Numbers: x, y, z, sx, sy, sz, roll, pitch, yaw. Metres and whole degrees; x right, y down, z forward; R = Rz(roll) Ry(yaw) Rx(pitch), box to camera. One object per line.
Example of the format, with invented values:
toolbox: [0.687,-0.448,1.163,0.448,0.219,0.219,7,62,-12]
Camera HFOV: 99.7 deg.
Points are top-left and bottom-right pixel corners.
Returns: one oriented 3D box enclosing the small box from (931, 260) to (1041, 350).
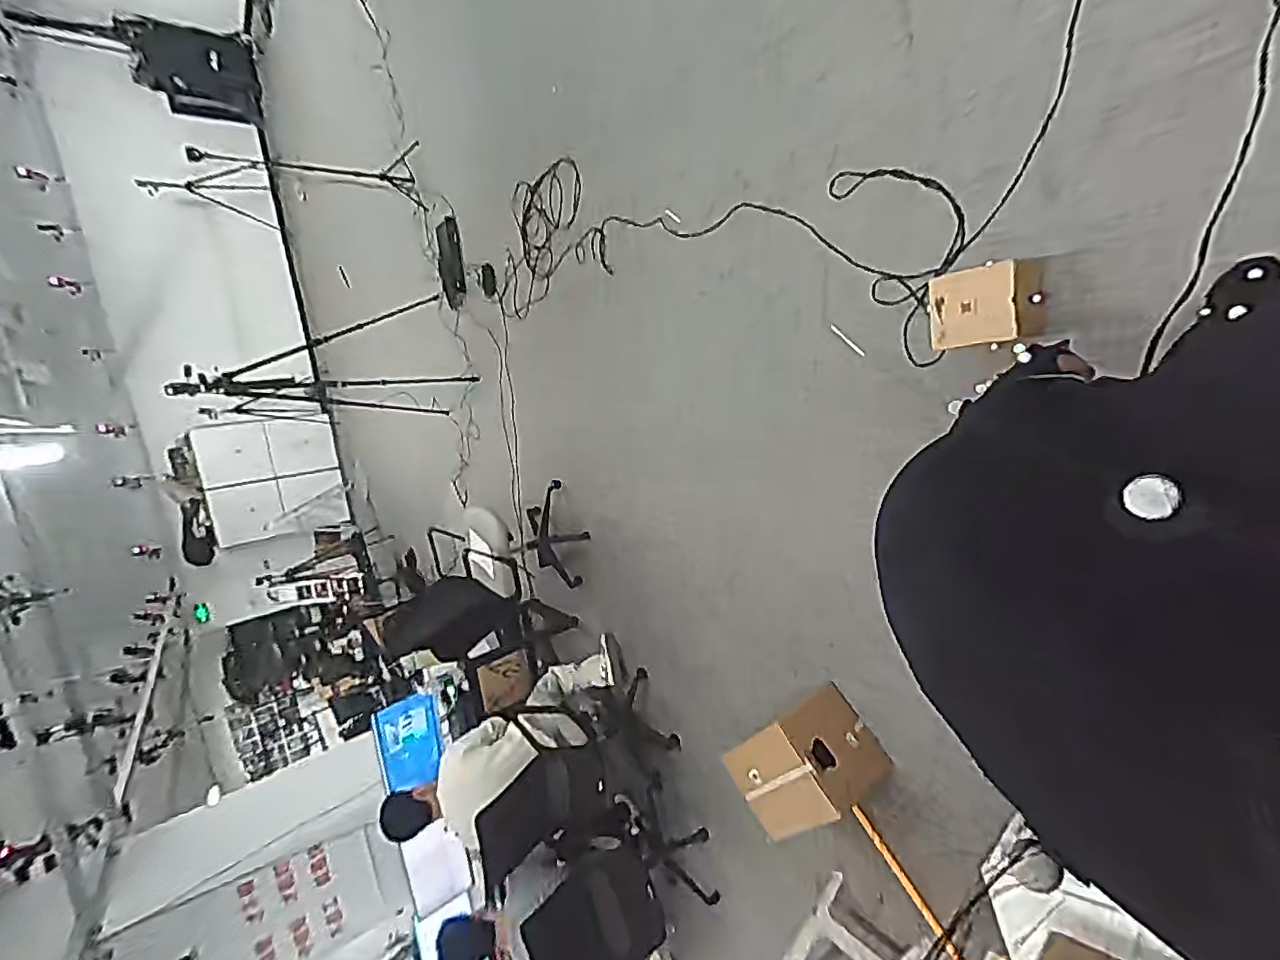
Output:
small box: [0.797,-0.399,1.240,0.179,0.176,0.168,3,104,51]
